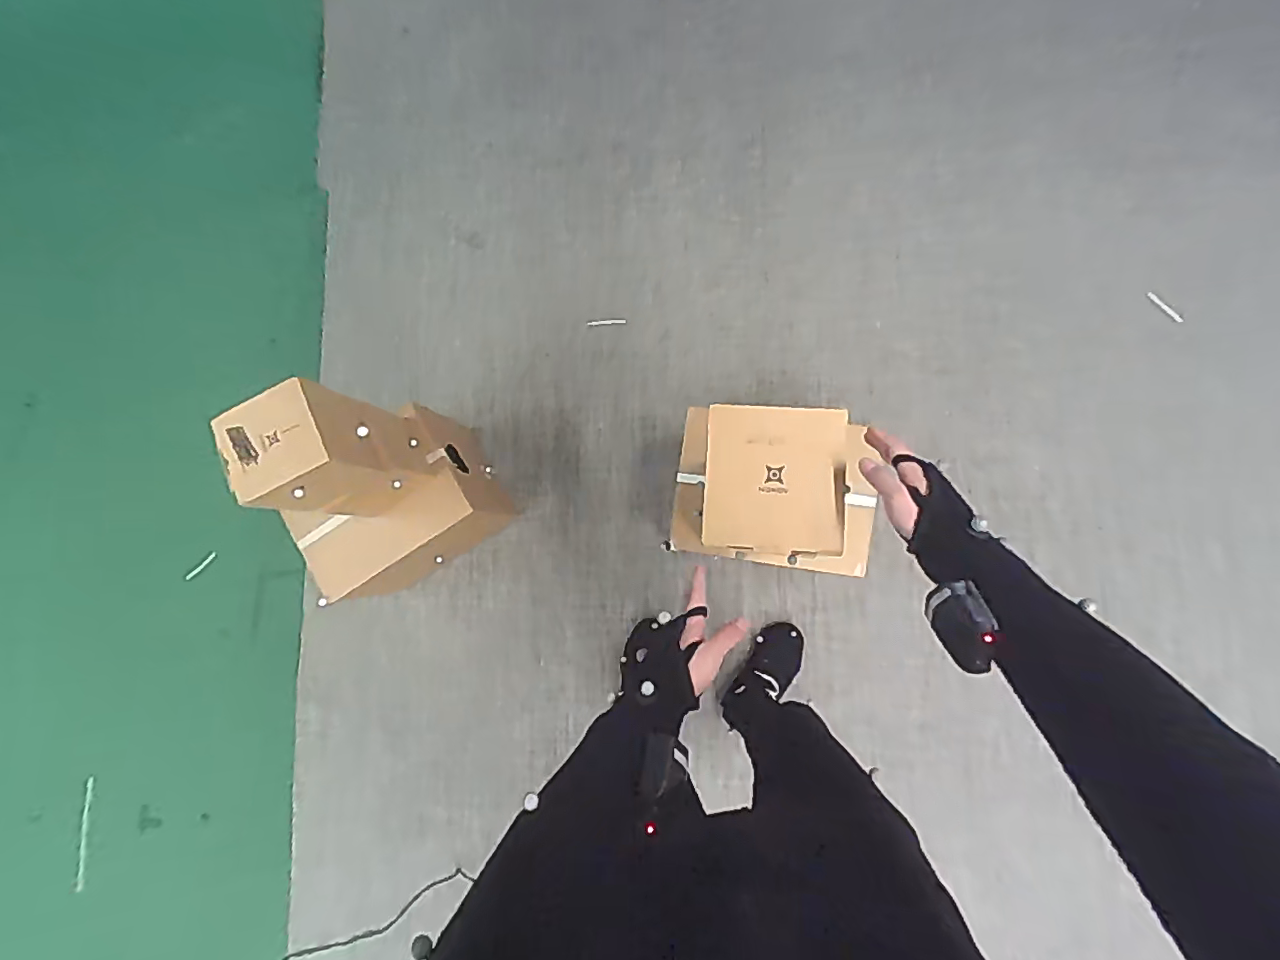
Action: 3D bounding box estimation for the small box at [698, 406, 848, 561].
[{"bbox_3d":[0.167,0.010,0.719,0.168,0.176,0.179,4,84,7],"label":"small box"}]

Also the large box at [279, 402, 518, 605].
[{"bbox_3d":[-0.595,0.064,1.382,0.408,0.320,0.320,-33,80,4],"label":"large box"}]

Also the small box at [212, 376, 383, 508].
[{"bbox_3d":[-0.610,-0.058,0.982,0.179,0.176,0.168,-26,81,3],"label":"small box"}]
